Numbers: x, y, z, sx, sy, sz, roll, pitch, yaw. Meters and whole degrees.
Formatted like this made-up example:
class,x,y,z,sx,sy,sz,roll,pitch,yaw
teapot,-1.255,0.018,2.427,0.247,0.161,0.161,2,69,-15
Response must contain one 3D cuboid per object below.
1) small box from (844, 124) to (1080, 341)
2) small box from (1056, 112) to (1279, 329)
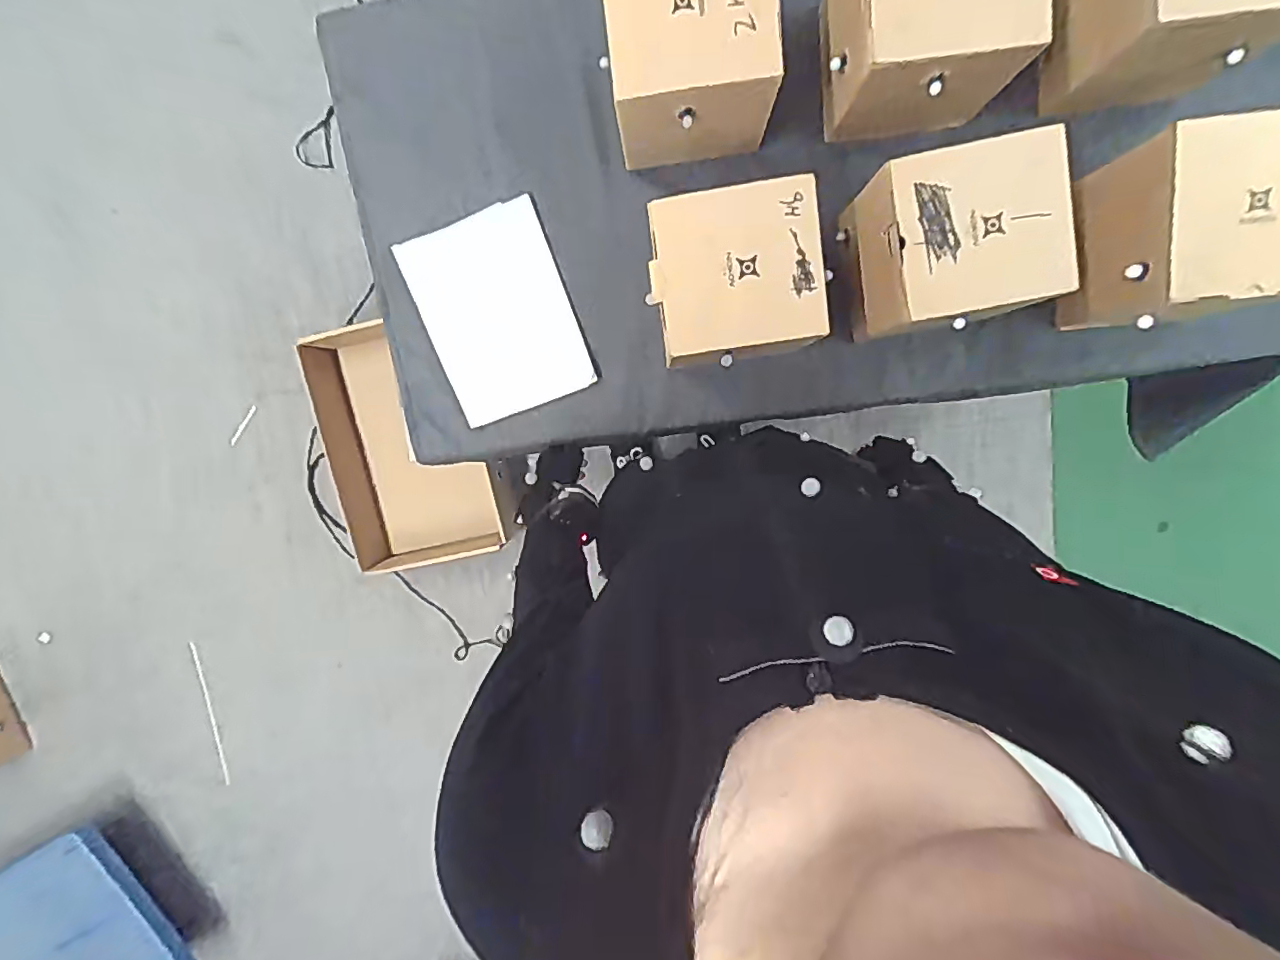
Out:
class,x,y,z,sx,sy,sz,roll,pitch,yaw
small box,0.350,-0.266,0.624,0.179,0.176,0.168,-10,96,3
small box,0.612,-0.279,0.612,0.168,0.176,0.179,-4,96,4
